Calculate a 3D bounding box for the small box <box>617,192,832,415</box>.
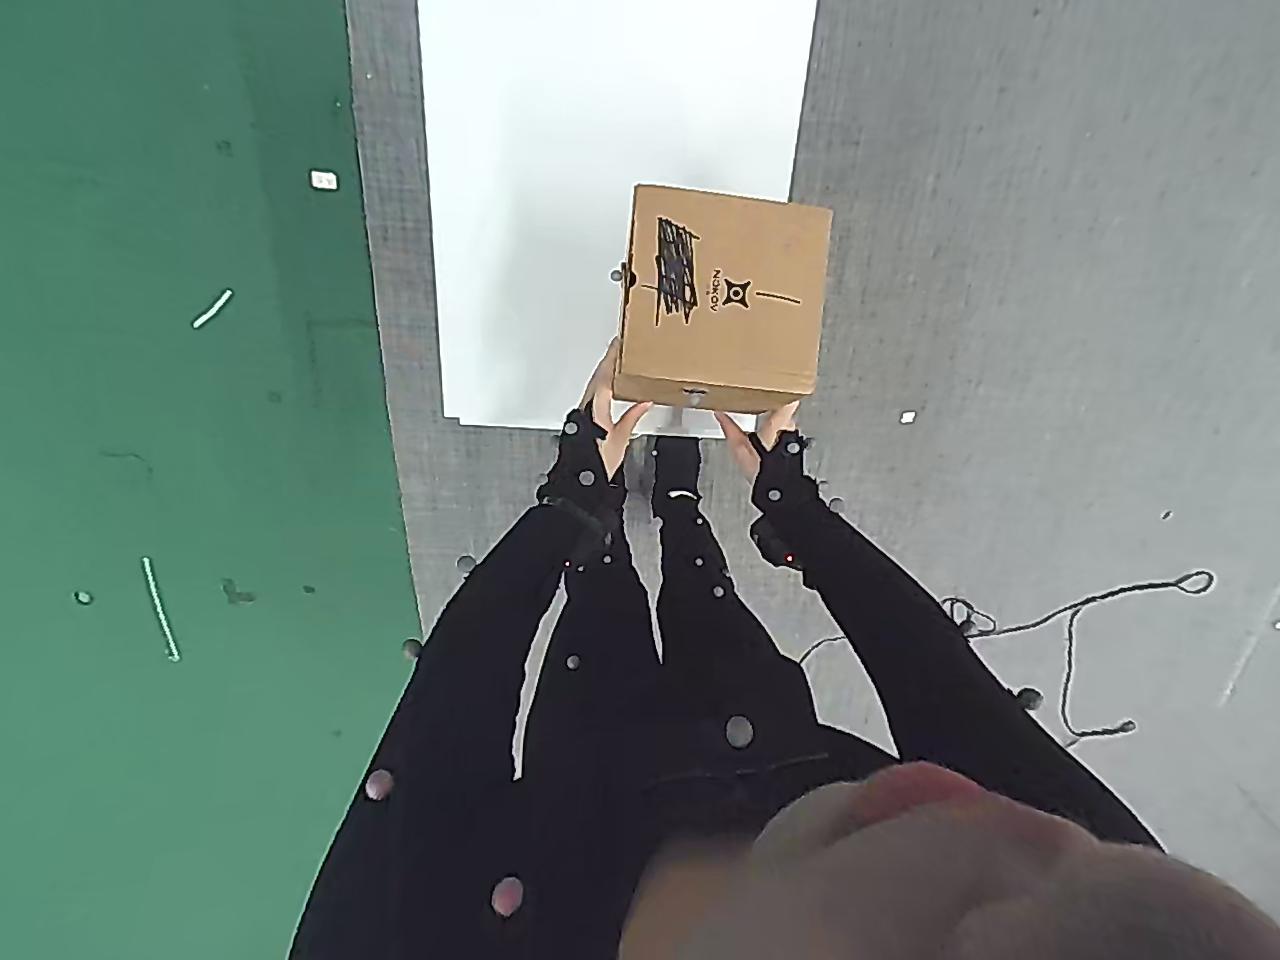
[{"bbox_3d":[0.071,-0.162,0.554,0.179,0.176,0.168,5,90,-6],"label":"small box"}]
